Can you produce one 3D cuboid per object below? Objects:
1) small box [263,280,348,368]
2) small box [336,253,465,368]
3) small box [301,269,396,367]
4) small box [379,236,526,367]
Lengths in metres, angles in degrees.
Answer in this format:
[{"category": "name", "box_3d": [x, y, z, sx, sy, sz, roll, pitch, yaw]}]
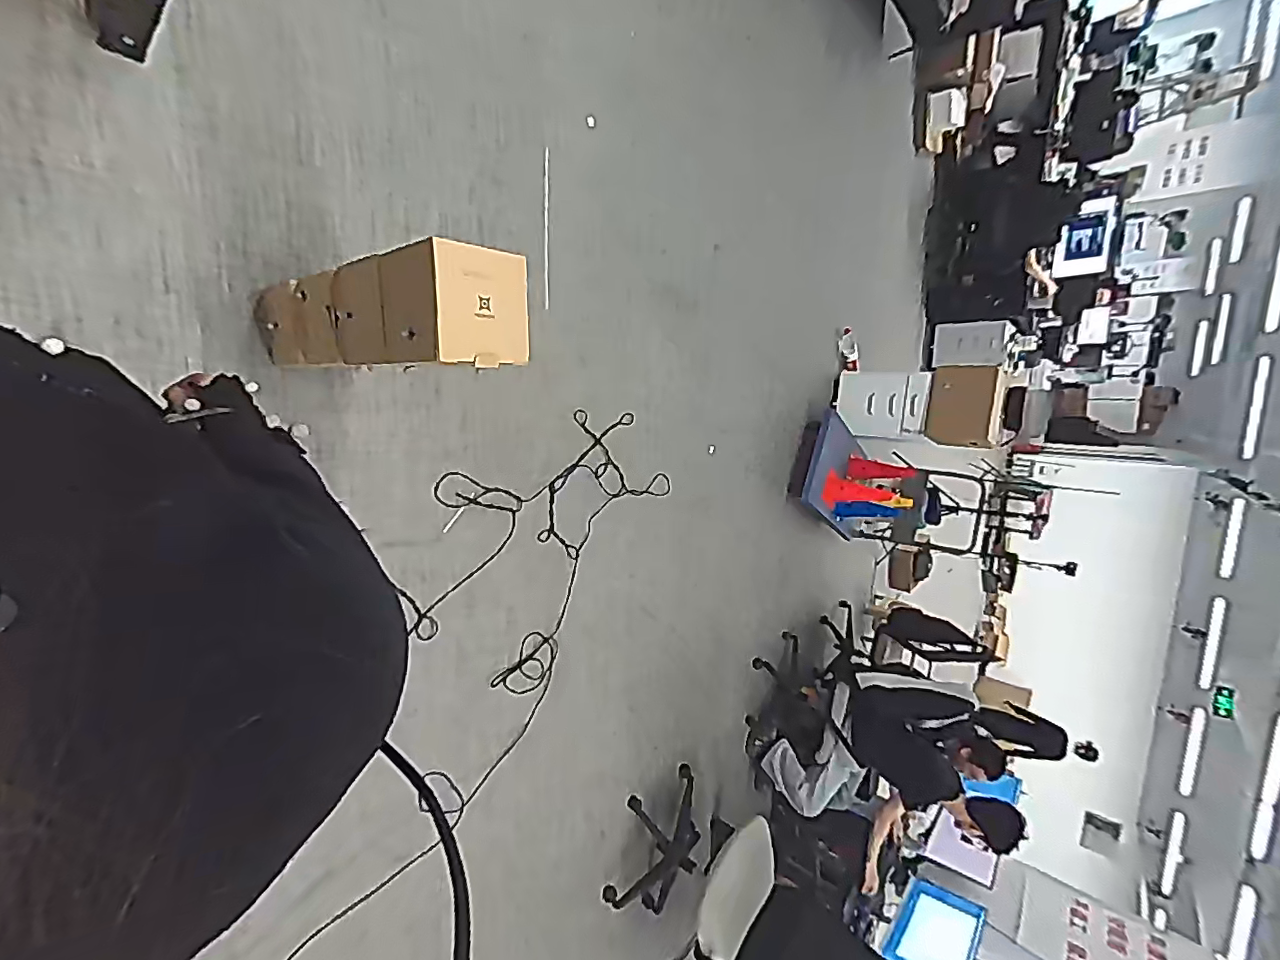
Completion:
[{"category": "small box", "box_3d": [-0.687, -0.332, 1.179, 0.179, 0.176, 0.168, -13, 106, -47]}, {"category": "small box", "box_3d": [-0.428, -0.295, 0.980, 0.168, 0.176, 0.179, -12, 107, -48]}, {"category": "small box", "box_3d": [-0.555, -0.313, 1.083, 0.179, 0.176, 0.168, -13, 107, -49]}, {"category": "small box", "box_3d": [-0.303, -0.274, 0.878, 0.168, 0.176, 0.179, -12, 105, -49]}]
